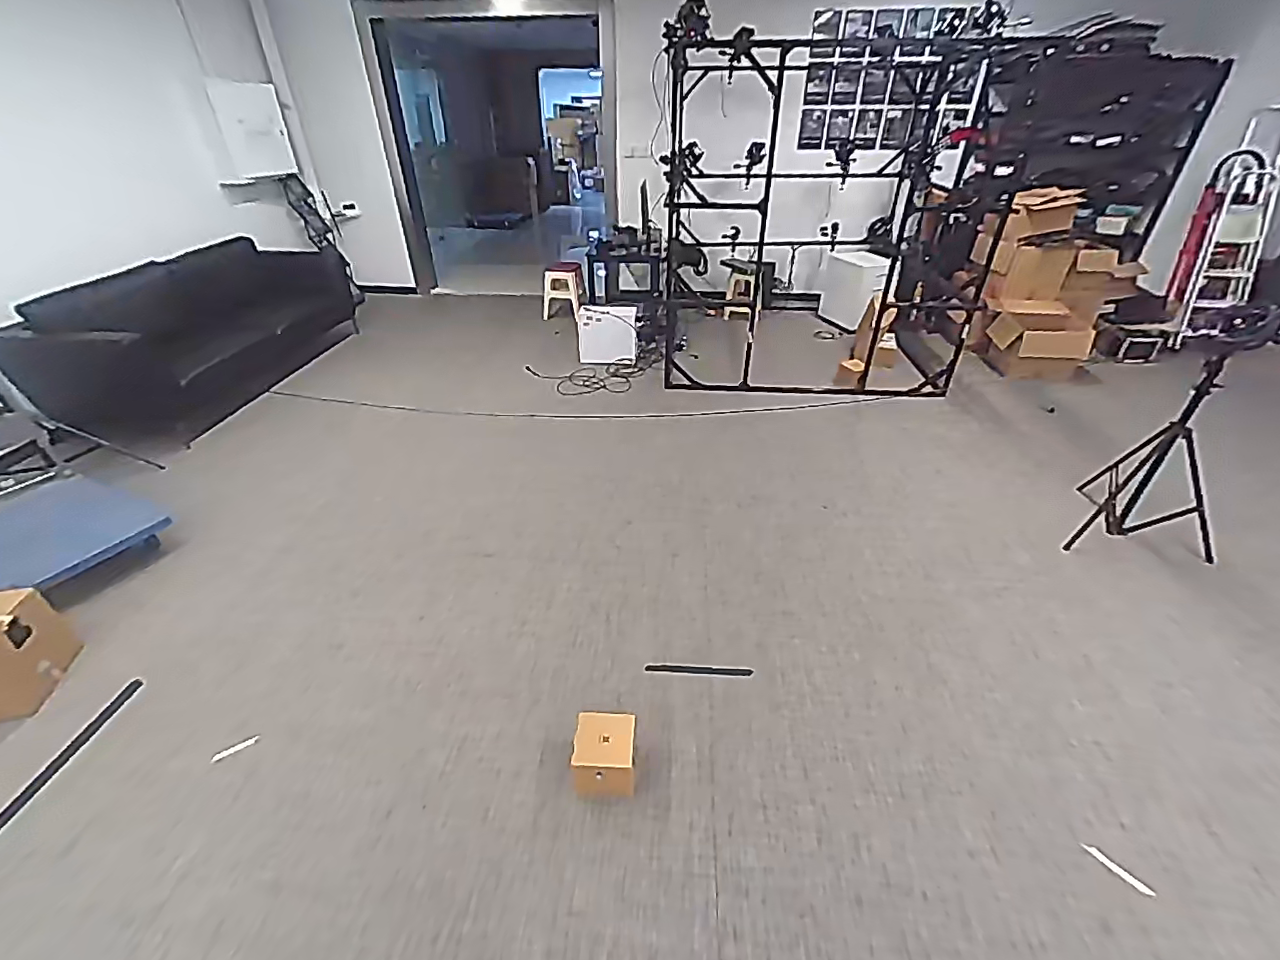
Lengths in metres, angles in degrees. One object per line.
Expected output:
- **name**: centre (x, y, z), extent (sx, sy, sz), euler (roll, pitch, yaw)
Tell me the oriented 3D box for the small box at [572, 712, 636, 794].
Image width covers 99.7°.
- **small box**: centre (-0.102, 0.830, 1.641), extent (0.179, 0.176, 0.168), euler (1, 35, 3)
